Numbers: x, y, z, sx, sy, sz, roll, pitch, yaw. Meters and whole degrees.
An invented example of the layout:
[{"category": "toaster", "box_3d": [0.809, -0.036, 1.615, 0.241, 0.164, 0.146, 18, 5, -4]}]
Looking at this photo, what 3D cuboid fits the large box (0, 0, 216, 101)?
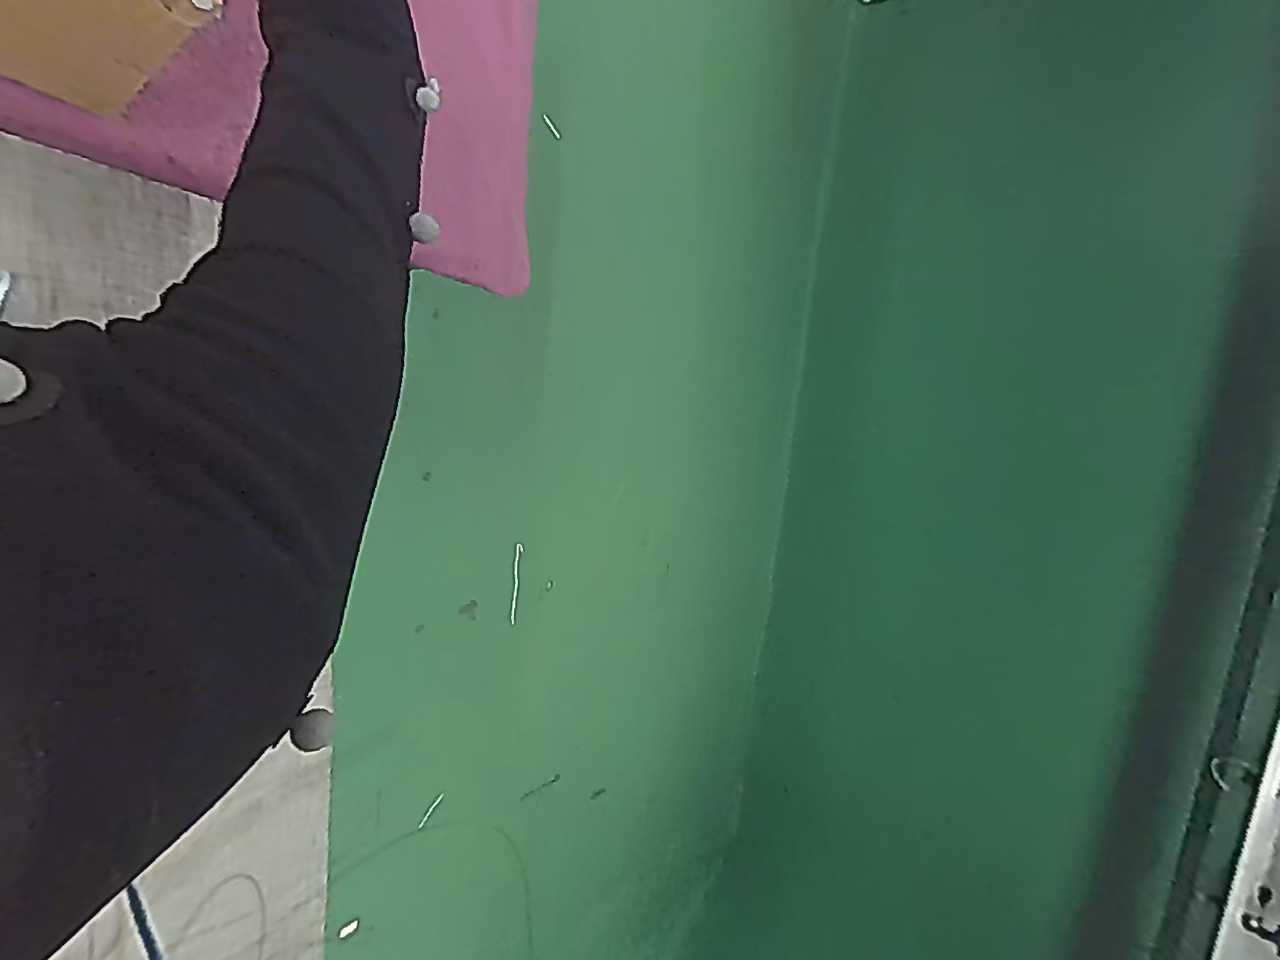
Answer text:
[{"category": "large box", "box_3d": [-0.478, -0.547, 0.317, 0.320, 0.320, 0.408, 1, 98, -54]}]
